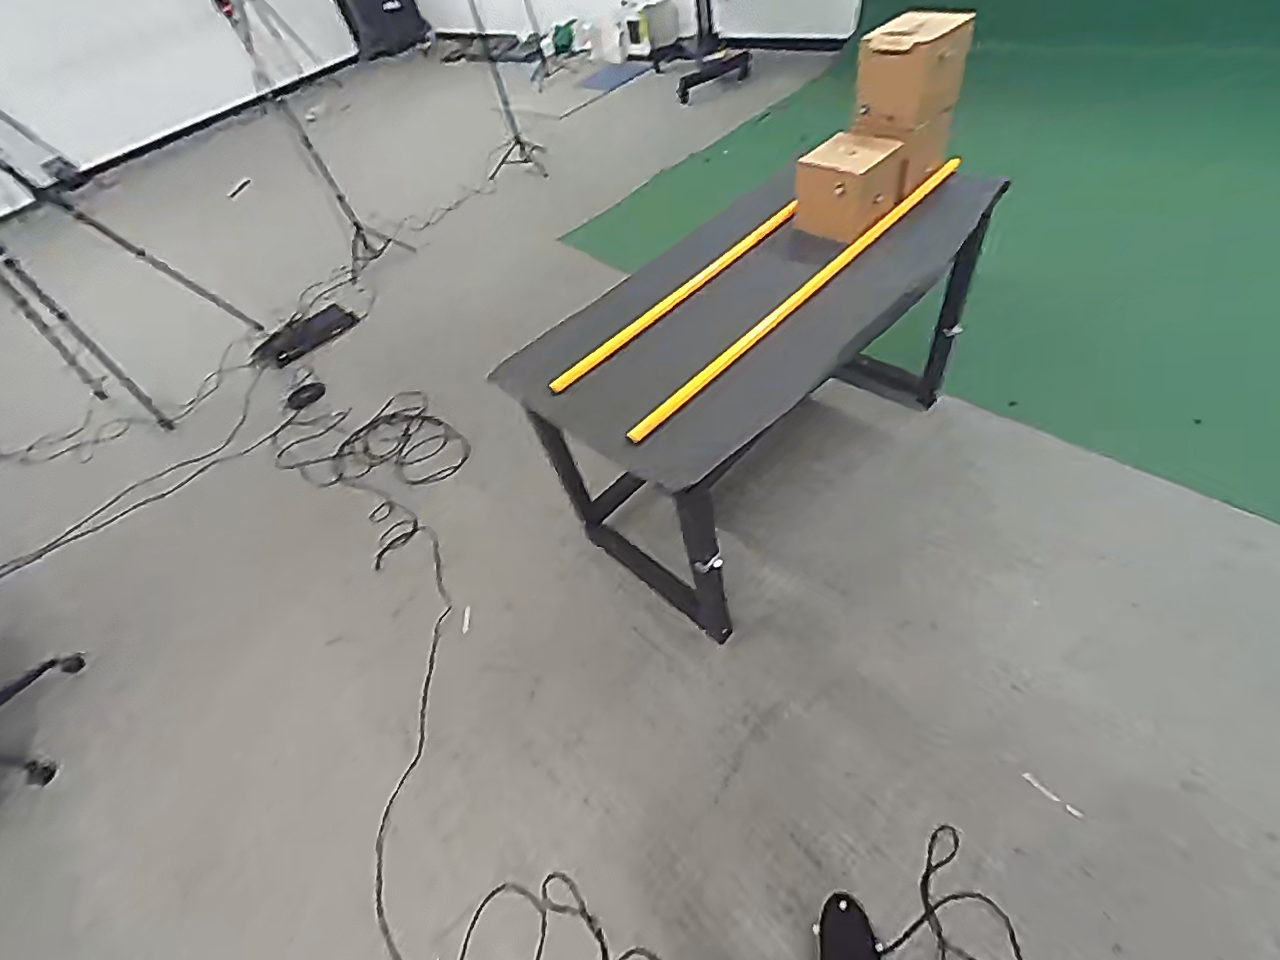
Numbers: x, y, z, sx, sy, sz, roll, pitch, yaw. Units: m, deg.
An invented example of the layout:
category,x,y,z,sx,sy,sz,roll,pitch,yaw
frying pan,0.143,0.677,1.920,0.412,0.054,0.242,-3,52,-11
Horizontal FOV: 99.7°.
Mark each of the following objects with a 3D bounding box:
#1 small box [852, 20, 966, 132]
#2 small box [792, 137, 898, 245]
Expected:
category,x,y,z,sx,sy,sz,roll,pitch,yaw
small box,0.620,-0.947,1.270,0.179,0.176,0.168,-38,54,-17
small box,0.492,-0.700,1.319,0.168,0.176,0.179,-40,53,-18
